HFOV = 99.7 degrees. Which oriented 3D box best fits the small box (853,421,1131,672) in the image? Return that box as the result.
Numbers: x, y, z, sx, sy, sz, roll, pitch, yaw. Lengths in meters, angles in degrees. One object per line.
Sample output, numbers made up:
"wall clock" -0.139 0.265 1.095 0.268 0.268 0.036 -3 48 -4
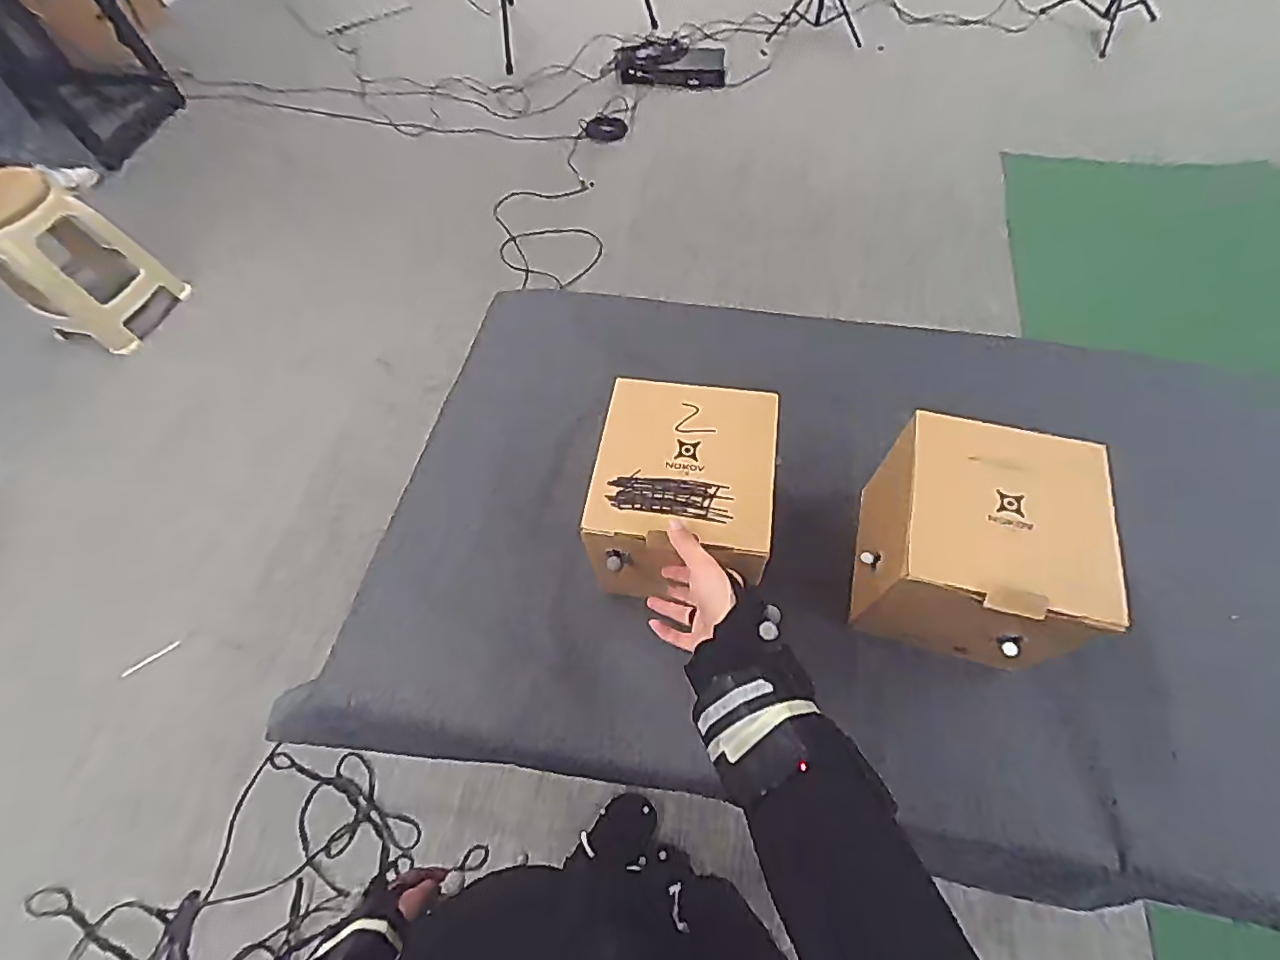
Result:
"small box" 0.320 0.072 0.532 0.168 0.176 0.179 12 60 9
